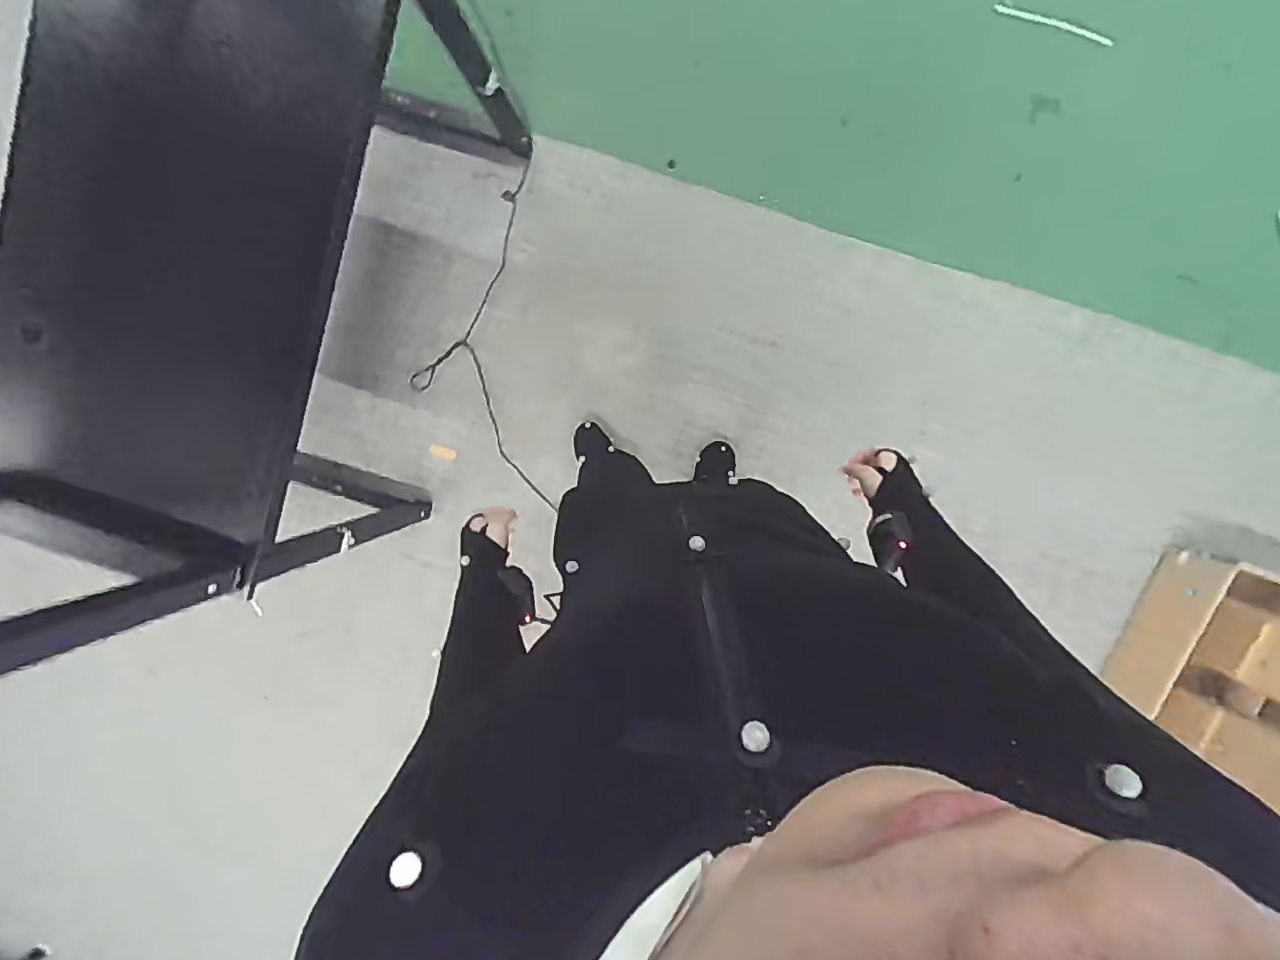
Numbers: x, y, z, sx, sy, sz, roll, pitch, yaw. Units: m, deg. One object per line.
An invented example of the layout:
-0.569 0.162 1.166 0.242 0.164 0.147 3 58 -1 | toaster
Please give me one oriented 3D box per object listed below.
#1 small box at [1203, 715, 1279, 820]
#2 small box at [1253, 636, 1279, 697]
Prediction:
1.501 0.696 1.267 0.168 0.176 0.179 24 97 3 | small box
1.598 0.460 1.238 0.179 0.176 0.168 18 99 3 | small box
